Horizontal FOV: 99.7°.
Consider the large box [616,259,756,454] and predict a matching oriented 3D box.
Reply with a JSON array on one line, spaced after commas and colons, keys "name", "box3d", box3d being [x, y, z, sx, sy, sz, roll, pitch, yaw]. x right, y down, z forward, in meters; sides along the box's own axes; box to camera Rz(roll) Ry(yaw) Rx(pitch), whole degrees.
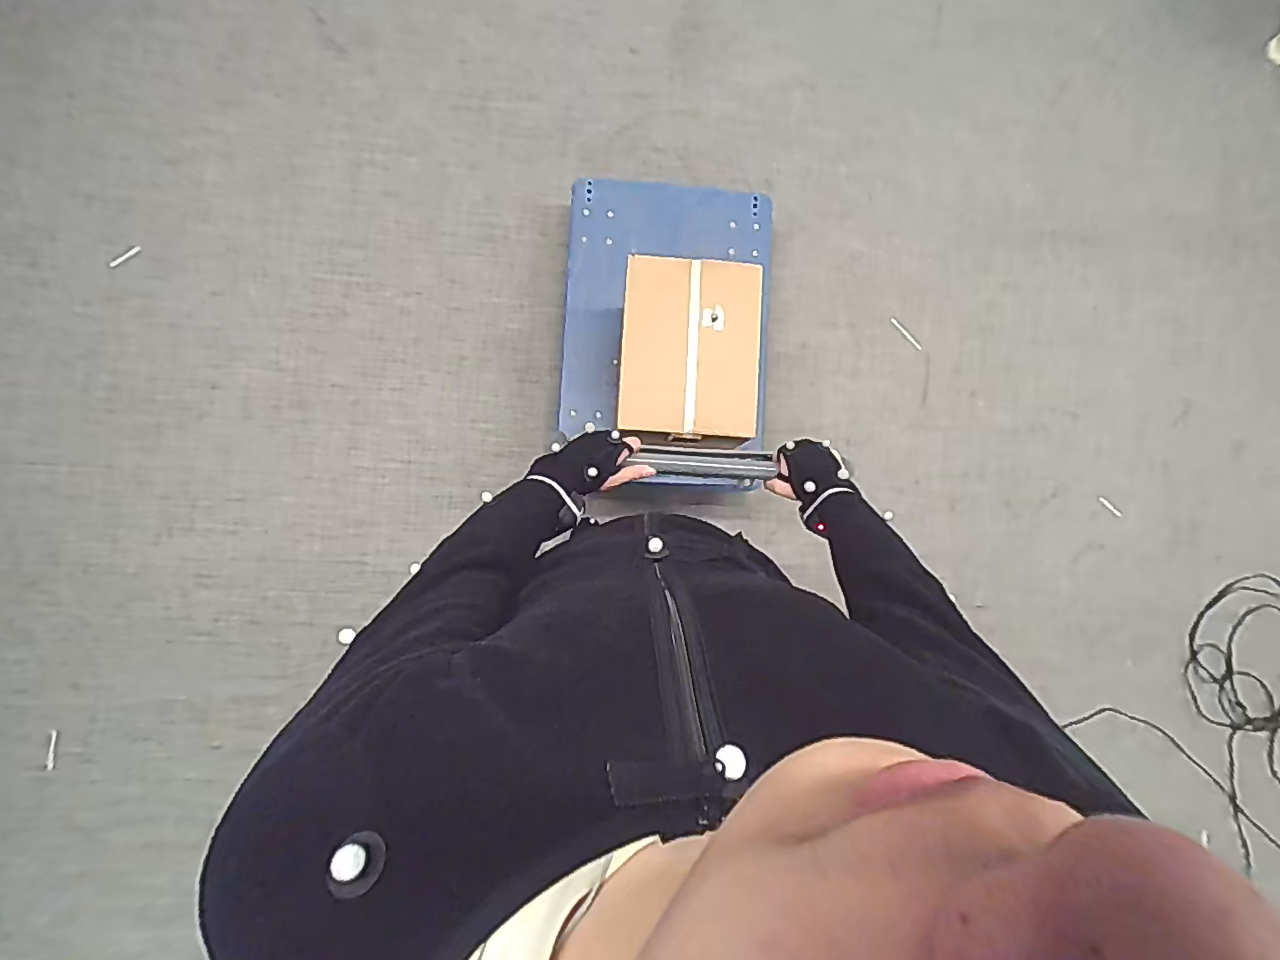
[{"name": "large box", "box3d": [0.099, -0.285, 1.363, 0.320, 0.320, 0.408, 3, 84, -4]}]
